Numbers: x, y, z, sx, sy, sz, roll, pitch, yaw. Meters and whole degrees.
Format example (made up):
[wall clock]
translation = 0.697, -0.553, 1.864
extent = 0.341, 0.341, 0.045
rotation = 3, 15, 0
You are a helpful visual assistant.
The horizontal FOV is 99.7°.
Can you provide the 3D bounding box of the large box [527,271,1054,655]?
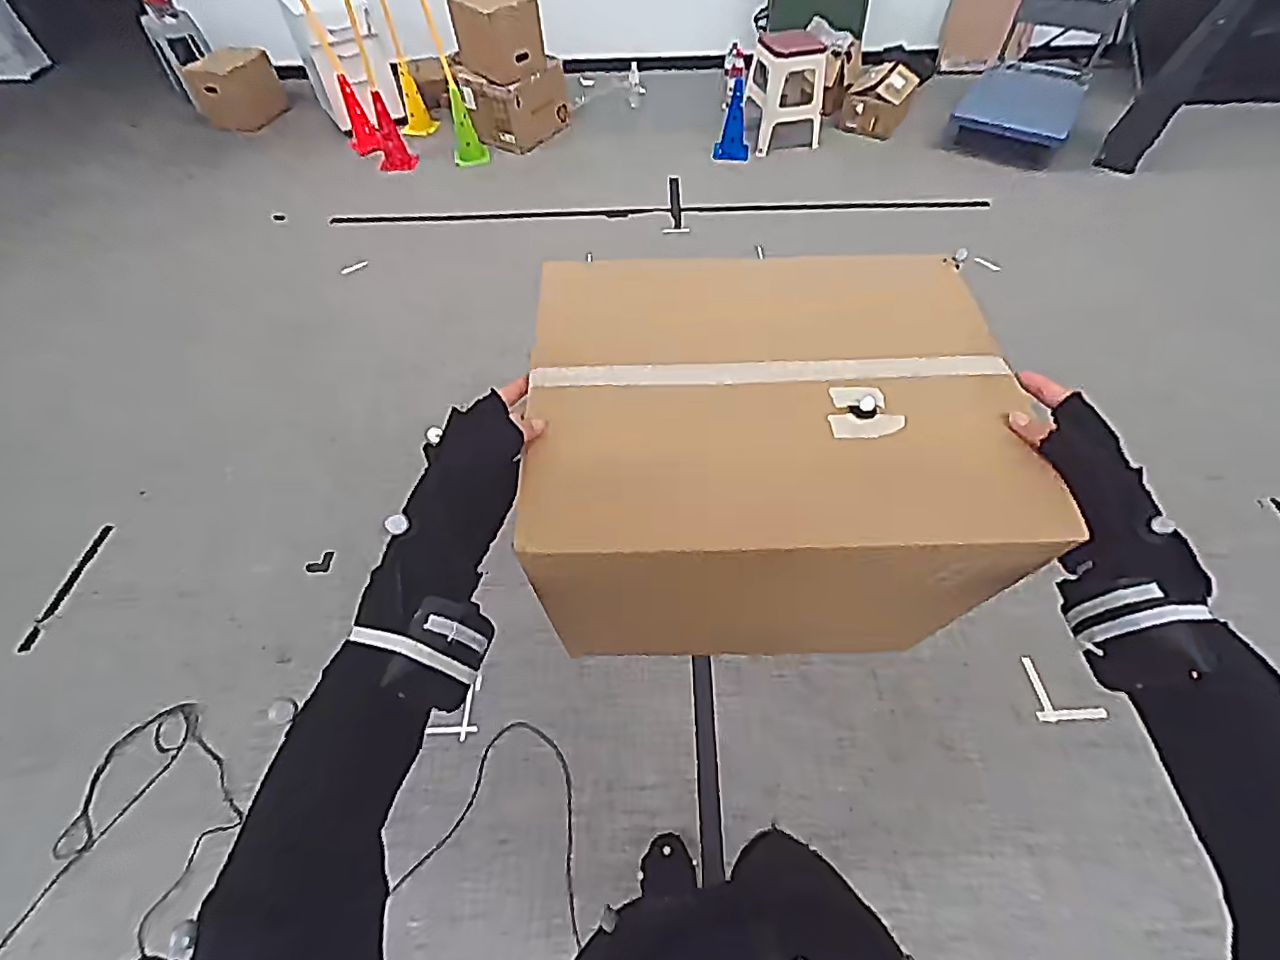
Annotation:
[large box]
translation = 0.107, -0.003, 0.603
extent = 0.408, 0.320, 0.320
rotation = -1, 59, -1
